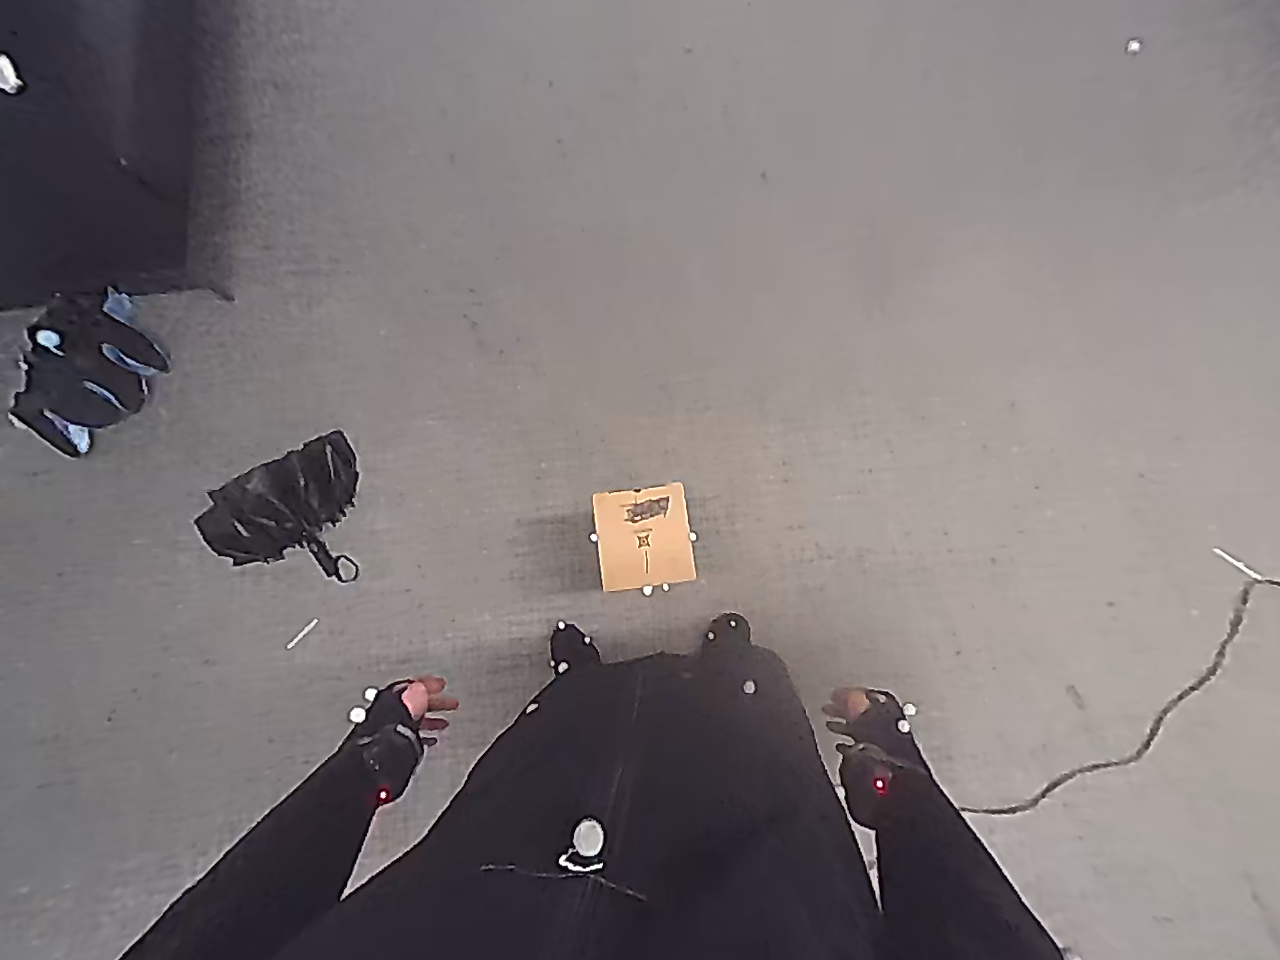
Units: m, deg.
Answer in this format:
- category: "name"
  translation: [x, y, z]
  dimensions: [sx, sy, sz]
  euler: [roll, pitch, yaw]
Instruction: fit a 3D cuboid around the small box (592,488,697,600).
- category: "small box"
  translation: [0.005, 0.120, 1.001]
  dimensions: [0.168, 0.176, 0.179]
  euler: [-8, 82, 0]
